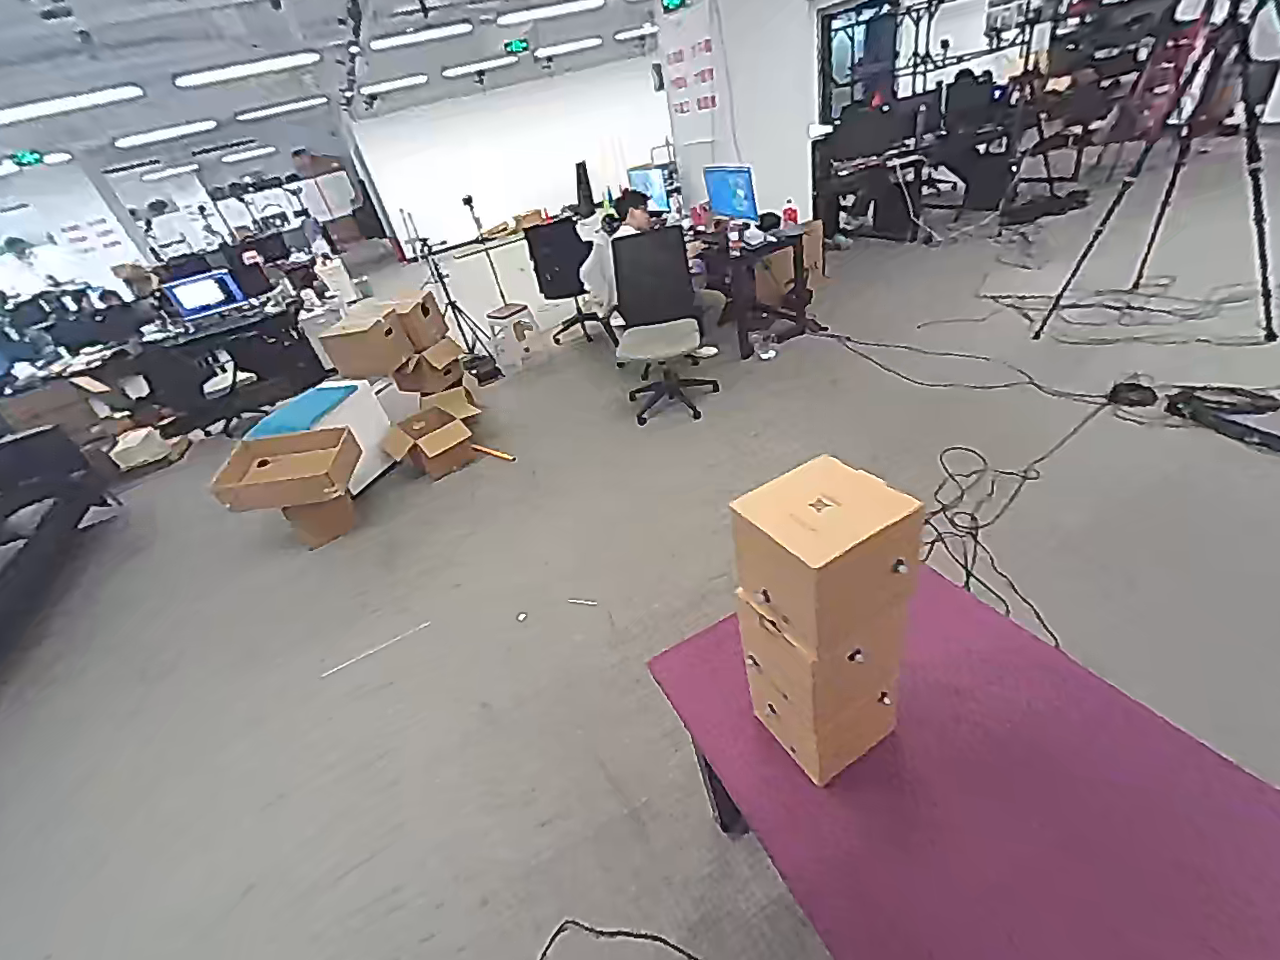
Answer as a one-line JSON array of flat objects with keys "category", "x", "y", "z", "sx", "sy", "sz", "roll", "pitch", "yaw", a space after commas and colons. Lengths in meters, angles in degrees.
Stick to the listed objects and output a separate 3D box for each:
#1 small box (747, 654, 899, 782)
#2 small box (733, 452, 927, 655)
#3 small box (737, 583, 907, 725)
[{"category": "small box", "x": 0.306, "y": 0.360, "z": 0.907, "sx": 0.179, "sy": 0.176, "sz": 0.168, "roll": -26, "pitch": 35, "yaw": -18}, {"category": "small box", "x": 0.246, "y": 0.094, "z": 0.725, "sx": 0.179, "sy": 0.176, "sz": 0.168, "roll": -25, "pitch": 35, "yaw": -17}, {"category": "small box", "x": 0.271, "y": 0.228, "z": 0.815, "sx": 0.179, "sy": 0.176, "sz": 0.168, "roll": -25, "pitch": 35, "yaw": -17}]
